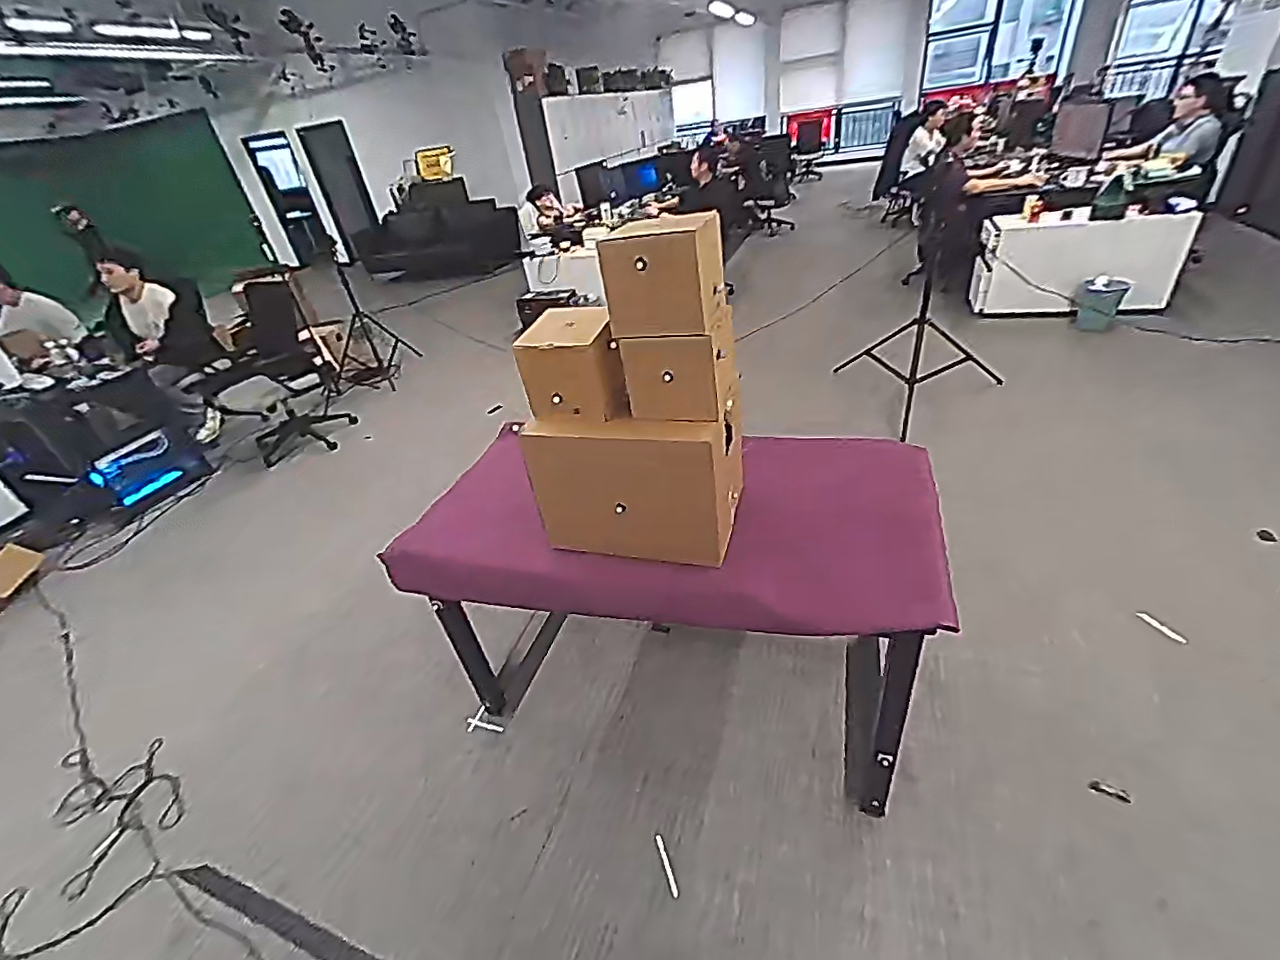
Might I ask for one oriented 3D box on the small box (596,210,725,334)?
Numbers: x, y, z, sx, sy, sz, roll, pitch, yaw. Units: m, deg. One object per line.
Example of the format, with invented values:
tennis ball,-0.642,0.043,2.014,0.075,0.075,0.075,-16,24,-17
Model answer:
small box,0.046,-0.366,0.962,0.179,0.176,0.168,4,36,21
